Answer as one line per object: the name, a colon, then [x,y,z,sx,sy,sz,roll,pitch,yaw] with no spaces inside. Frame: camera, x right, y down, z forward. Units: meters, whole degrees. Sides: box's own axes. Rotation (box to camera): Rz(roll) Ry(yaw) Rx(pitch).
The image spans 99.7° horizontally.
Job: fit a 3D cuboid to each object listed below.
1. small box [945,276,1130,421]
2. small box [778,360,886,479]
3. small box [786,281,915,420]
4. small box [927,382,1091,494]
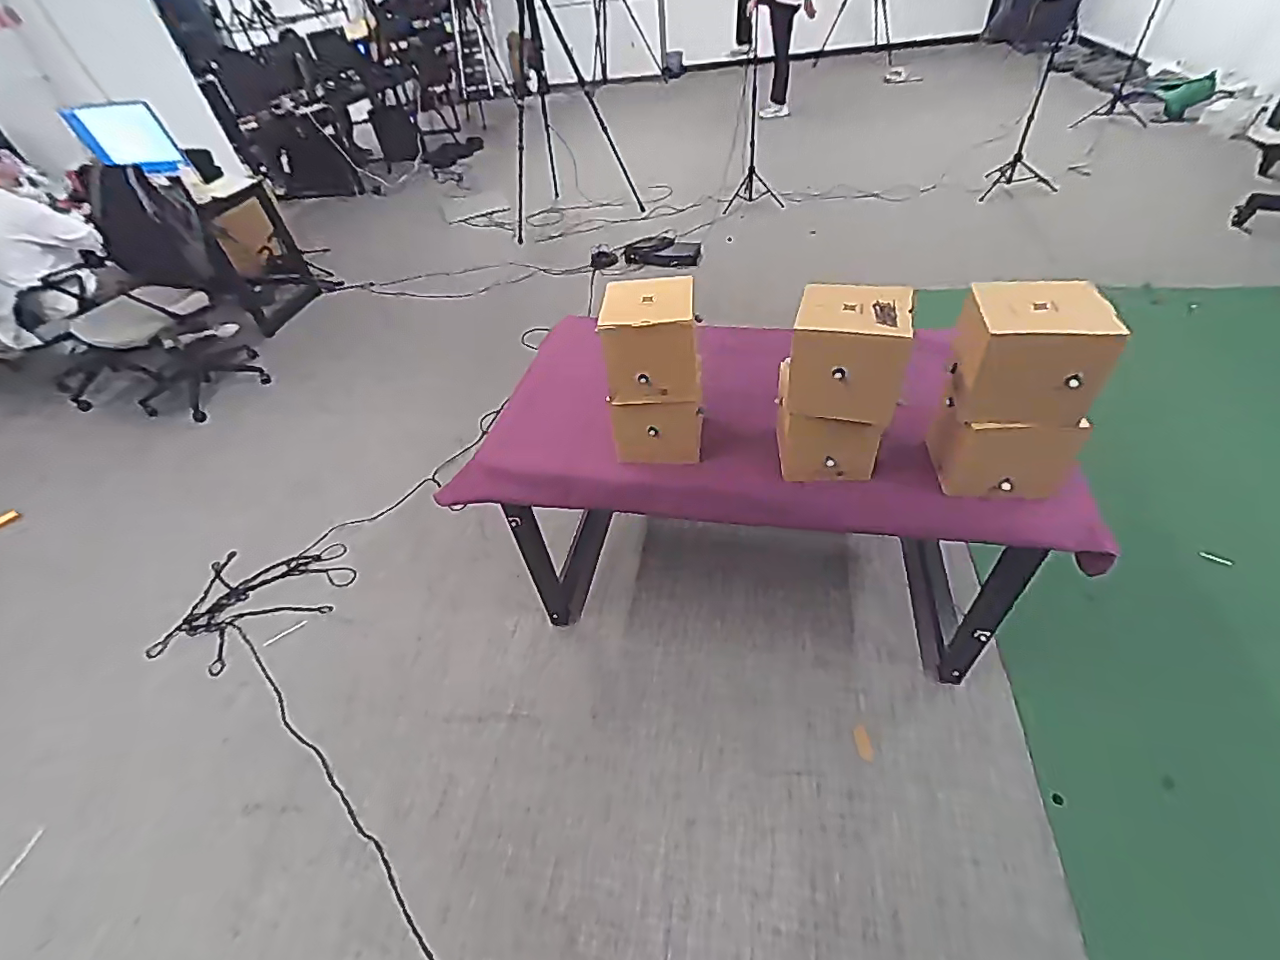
small box: [0.618,-0.209,0.869,0.179,0.176,0.168,4,46,15]
small box: [0.364,-0.121,1.058,0.168,0.176,0.179,-1,44,9]
small box: [0.356,-0.221,0.925,0.179,0.176,0.168,9,46,19]
small box: [0.648,-0.088,0.976,0.179,0.176,0.168,1,45,11]
